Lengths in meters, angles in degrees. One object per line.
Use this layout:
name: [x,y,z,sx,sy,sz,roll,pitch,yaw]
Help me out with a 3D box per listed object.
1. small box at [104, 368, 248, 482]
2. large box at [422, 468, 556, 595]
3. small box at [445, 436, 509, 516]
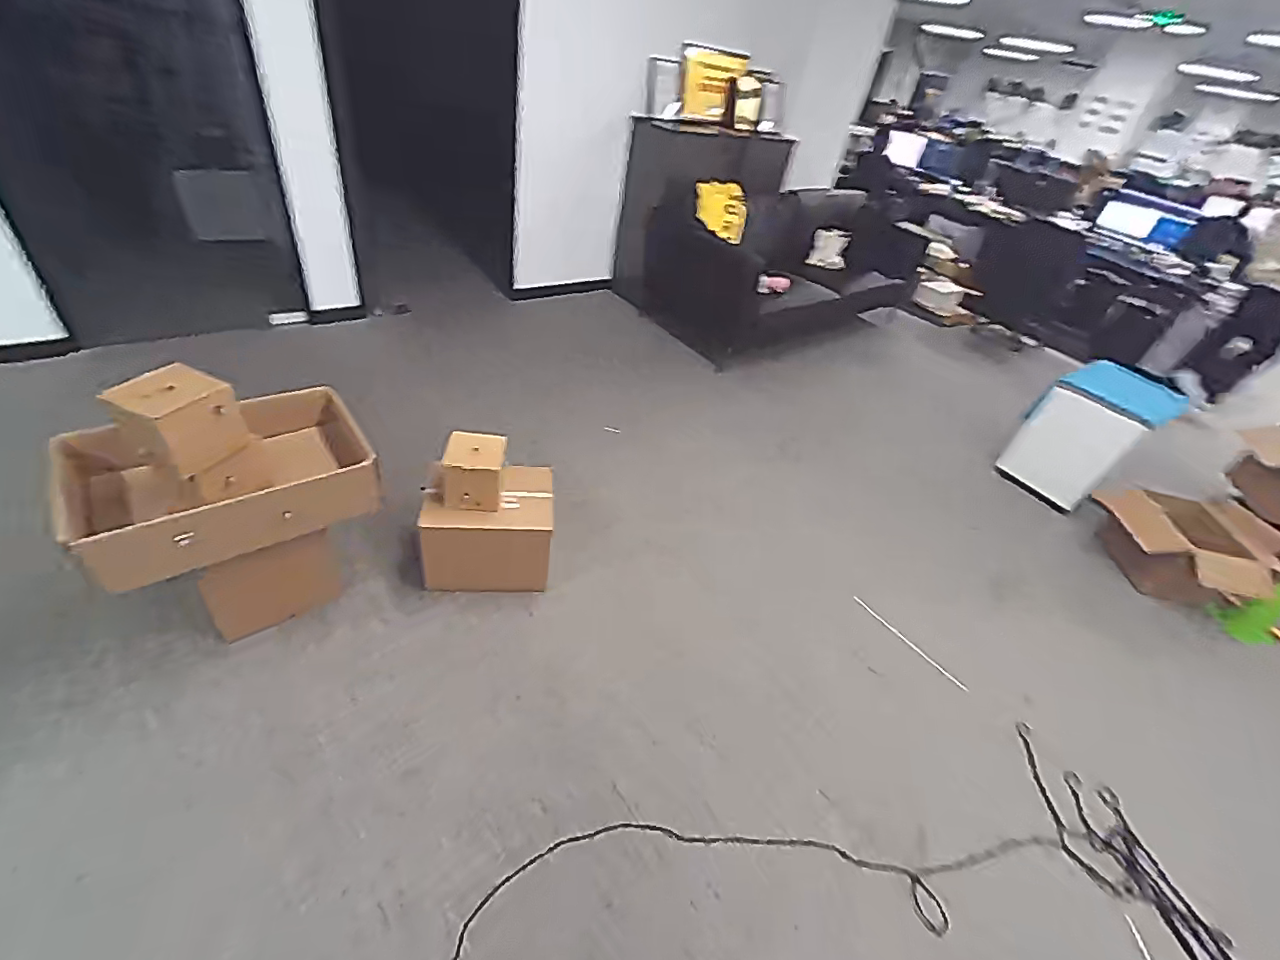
small box: [-1.050,-0.127,1.247,0.168,0.176,0.179,22,41,12]
large box: [-0.507,0.180,1.846,0.408,0.320,0.320,4,40,-13]
small box: [-0.508,-0.013,1.691,0.168,0.176,0.179,6,38,-9]
